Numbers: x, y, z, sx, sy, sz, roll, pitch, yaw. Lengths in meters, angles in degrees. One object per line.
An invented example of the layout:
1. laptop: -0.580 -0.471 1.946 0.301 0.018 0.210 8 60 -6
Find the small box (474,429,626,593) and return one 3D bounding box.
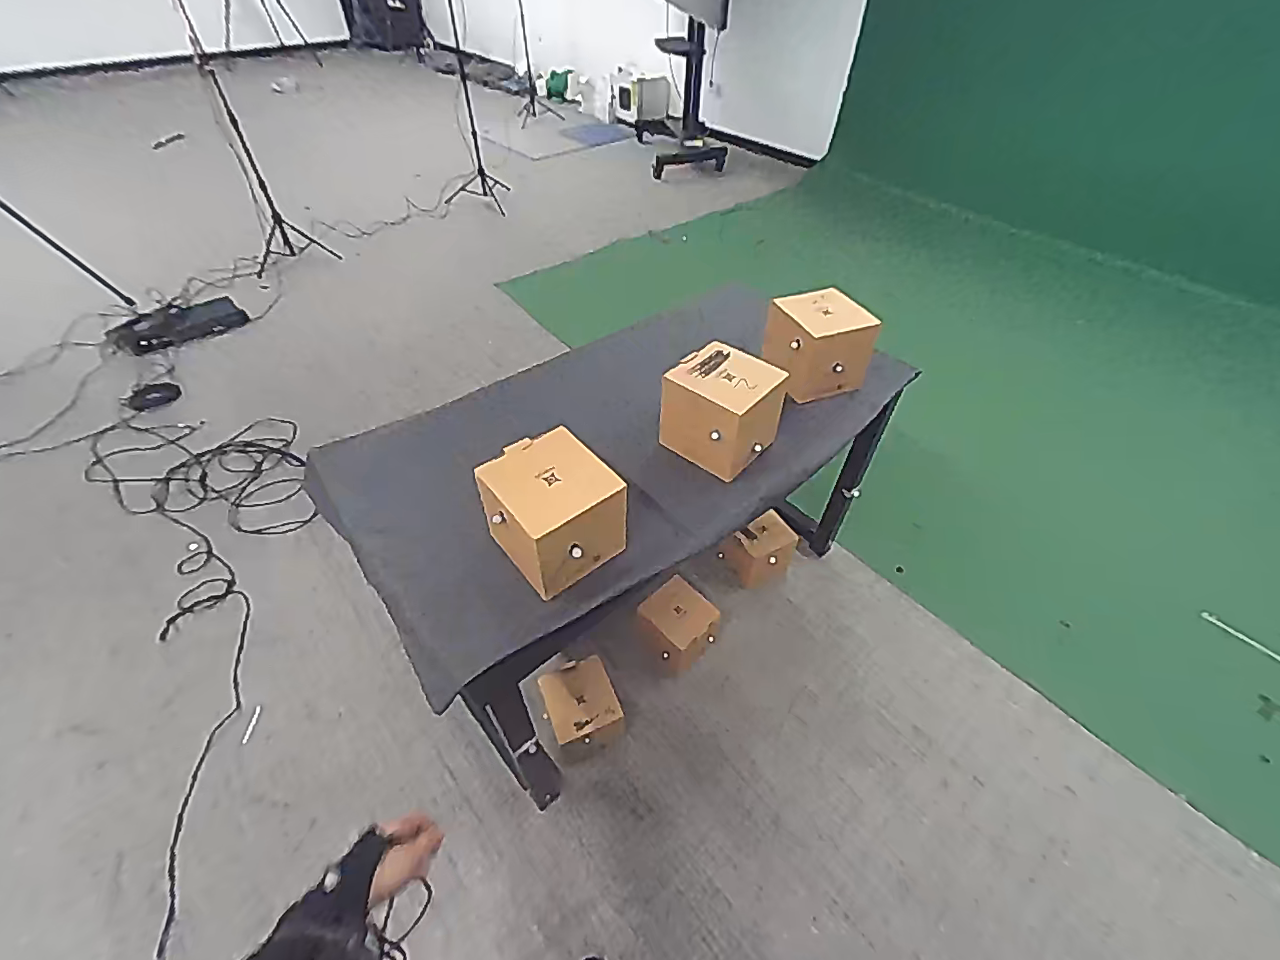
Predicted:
1. small box: -0.135 0.056 0.863 0.168 0.176 0.179 -31 55 -27

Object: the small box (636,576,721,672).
1. small box: 0.104 0.415 1.530 0.168 0.176 0.179 -34 56 -29

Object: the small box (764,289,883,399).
1. small box: 0.396 -0.296 1.200 0.168 0.176 0.179 -15 47 -15

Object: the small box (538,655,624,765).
1. small box: -0.149 0.582 1.367 0.168 0.176 0.179 -18 50 -17

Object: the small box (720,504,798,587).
1. small box: 0.371 0.212 1.725 0.179 0.176 0.168 -20 51 -21
